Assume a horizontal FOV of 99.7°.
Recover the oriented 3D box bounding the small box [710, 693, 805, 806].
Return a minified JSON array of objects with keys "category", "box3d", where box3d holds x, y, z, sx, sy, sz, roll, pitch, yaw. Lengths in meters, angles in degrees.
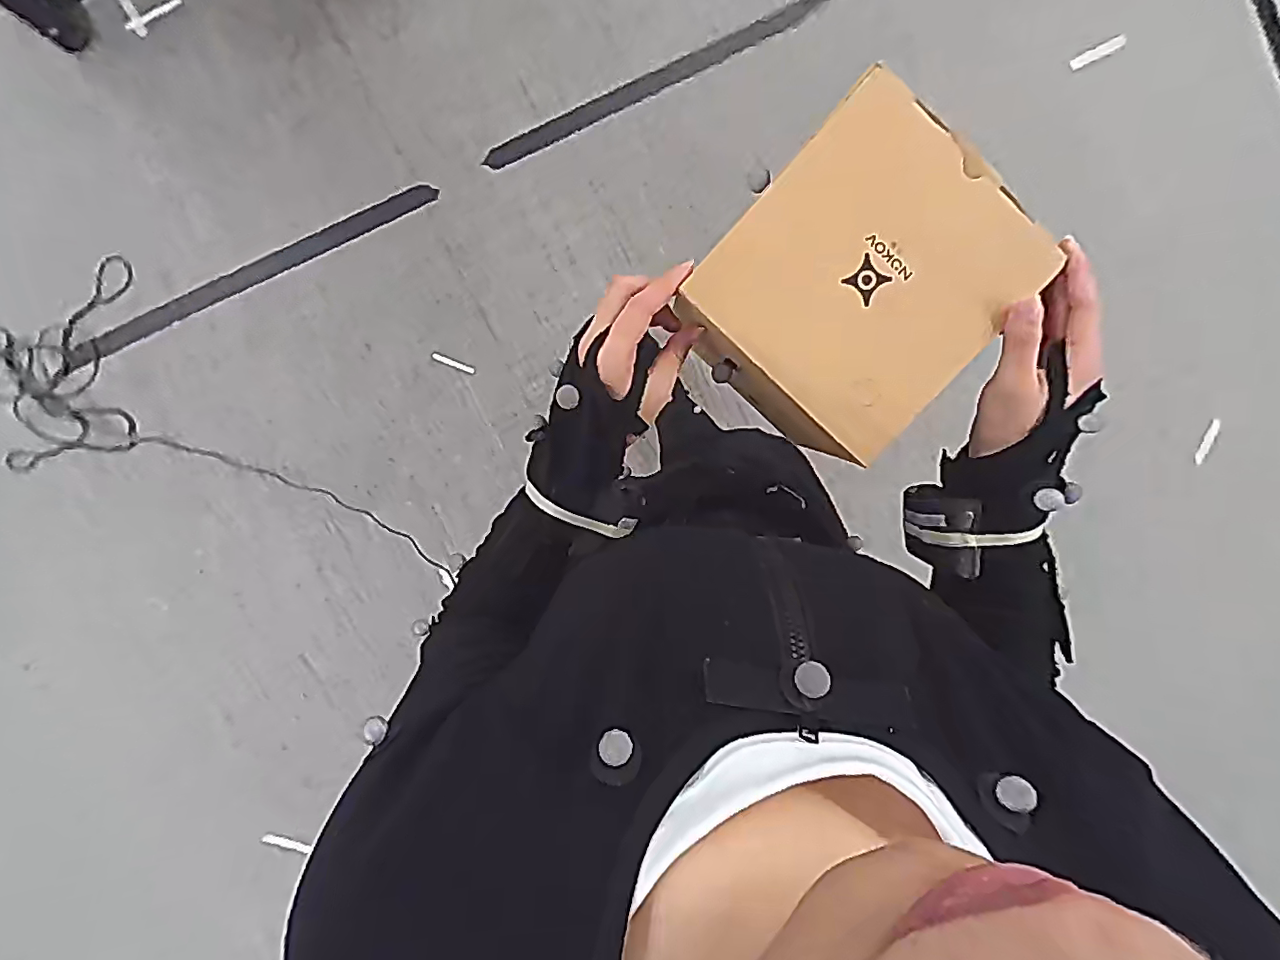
[{"category":"small box","box3d":[0.285,0.657,1.347,0.168,0.176,0.179,-19,96,0]}]
